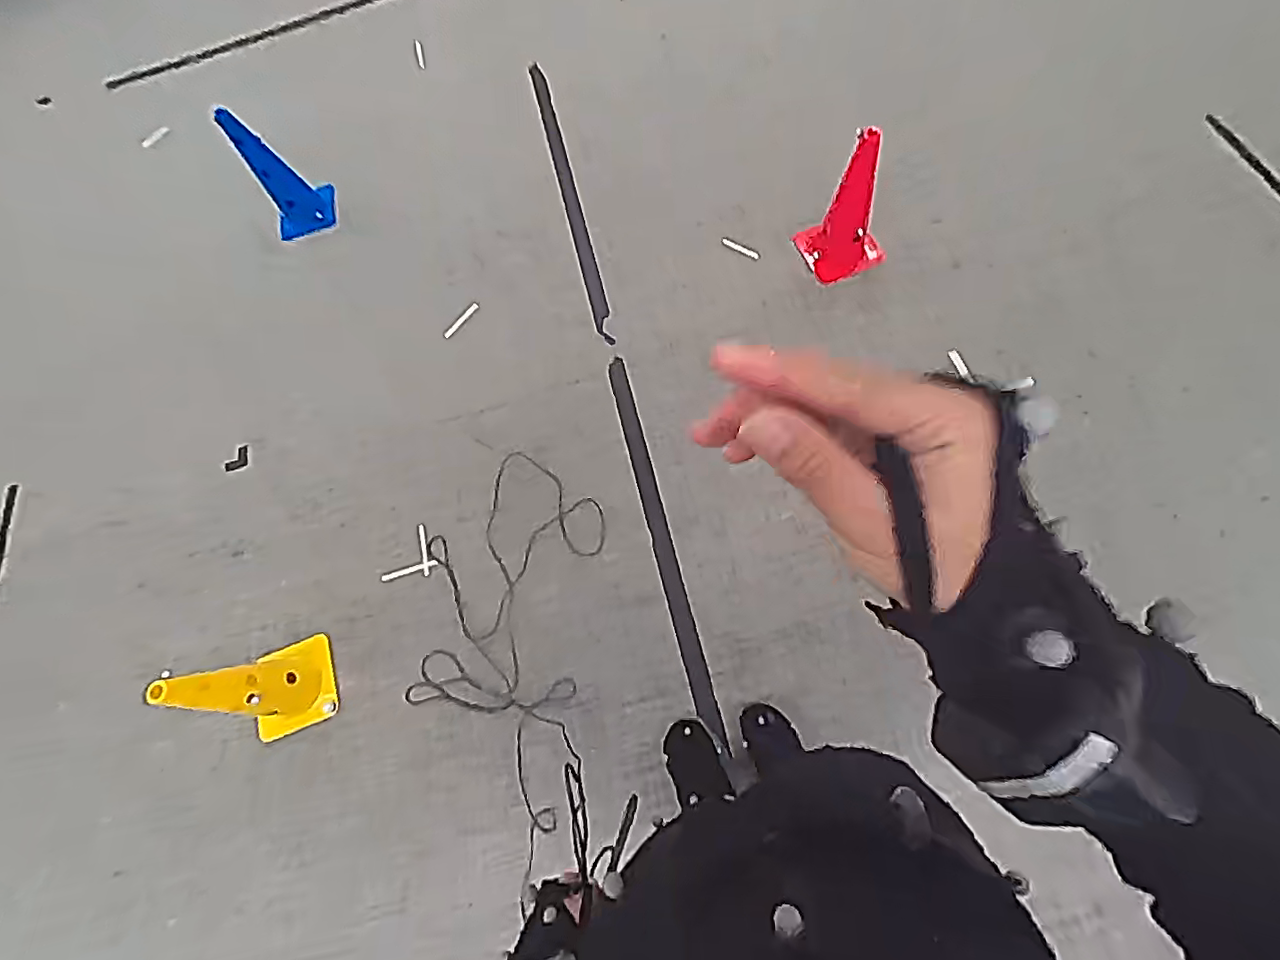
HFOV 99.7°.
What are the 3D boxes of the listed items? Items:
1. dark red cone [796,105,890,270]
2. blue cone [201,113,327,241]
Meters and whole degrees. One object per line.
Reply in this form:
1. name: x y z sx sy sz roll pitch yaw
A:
1. dark red cone: 0.534 -0.735 1.343 0.201 0.394 0.202 -24 69 0
2. blue cone: -1.178 -0.960 1.686 0.192 0.380 0.193 -16 69 3
